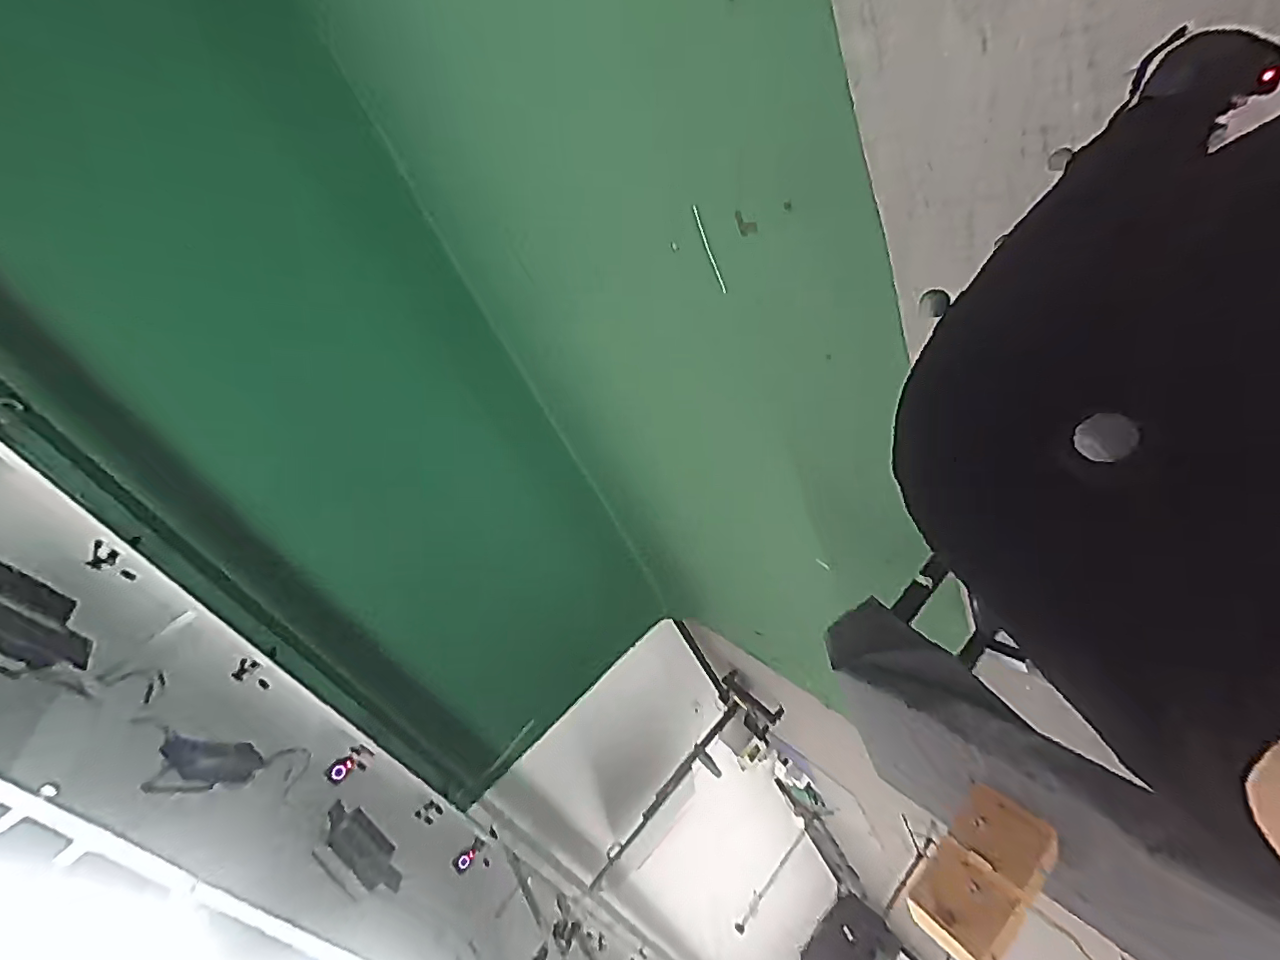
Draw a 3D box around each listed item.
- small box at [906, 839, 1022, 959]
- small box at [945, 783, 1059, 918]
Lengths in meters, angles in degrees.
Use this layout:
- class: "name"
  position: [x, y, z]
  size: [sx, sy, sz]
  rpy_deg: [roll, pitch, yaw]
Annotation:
- class: "small box"
  position: [0.738, 0.970, 1.226]
  size: [0.168, 0.176, 0.179]
  rpy_deg: [25, 148, 52]
- class: "small box"
  position: [0.851, 0.859, 1.268]
  size: [0.168, 0.176, 0.179]
  rpy_deg: [24, 149, 53]
